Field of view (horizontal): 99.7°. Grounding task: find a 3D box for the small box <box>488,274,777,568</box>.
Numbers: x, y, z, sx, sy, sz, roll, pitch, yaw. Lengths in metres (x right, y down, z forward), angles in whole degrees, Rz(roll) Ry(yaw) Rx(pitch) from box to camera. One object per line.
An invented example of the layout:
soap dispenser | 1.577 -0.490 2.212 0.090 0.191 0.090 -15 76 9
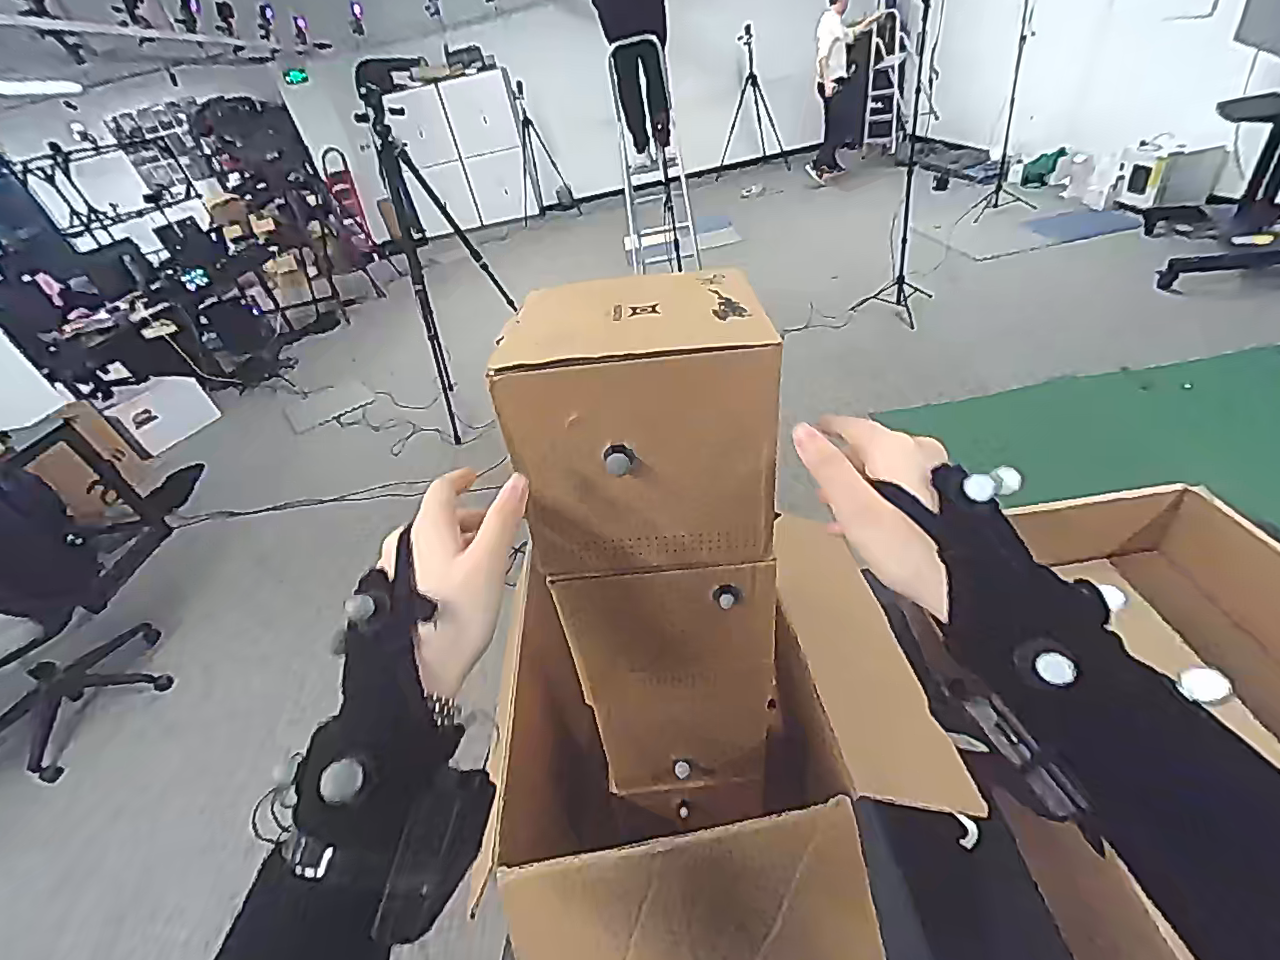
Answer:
small box | 0.004 -0.046 0.425 0.179 0.176 0.168 -5 36 3

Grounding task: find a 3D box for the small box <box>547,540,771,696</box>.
small box | 0.021 0.087 0.520 0.179 0.176 0.168 -5 36 2
